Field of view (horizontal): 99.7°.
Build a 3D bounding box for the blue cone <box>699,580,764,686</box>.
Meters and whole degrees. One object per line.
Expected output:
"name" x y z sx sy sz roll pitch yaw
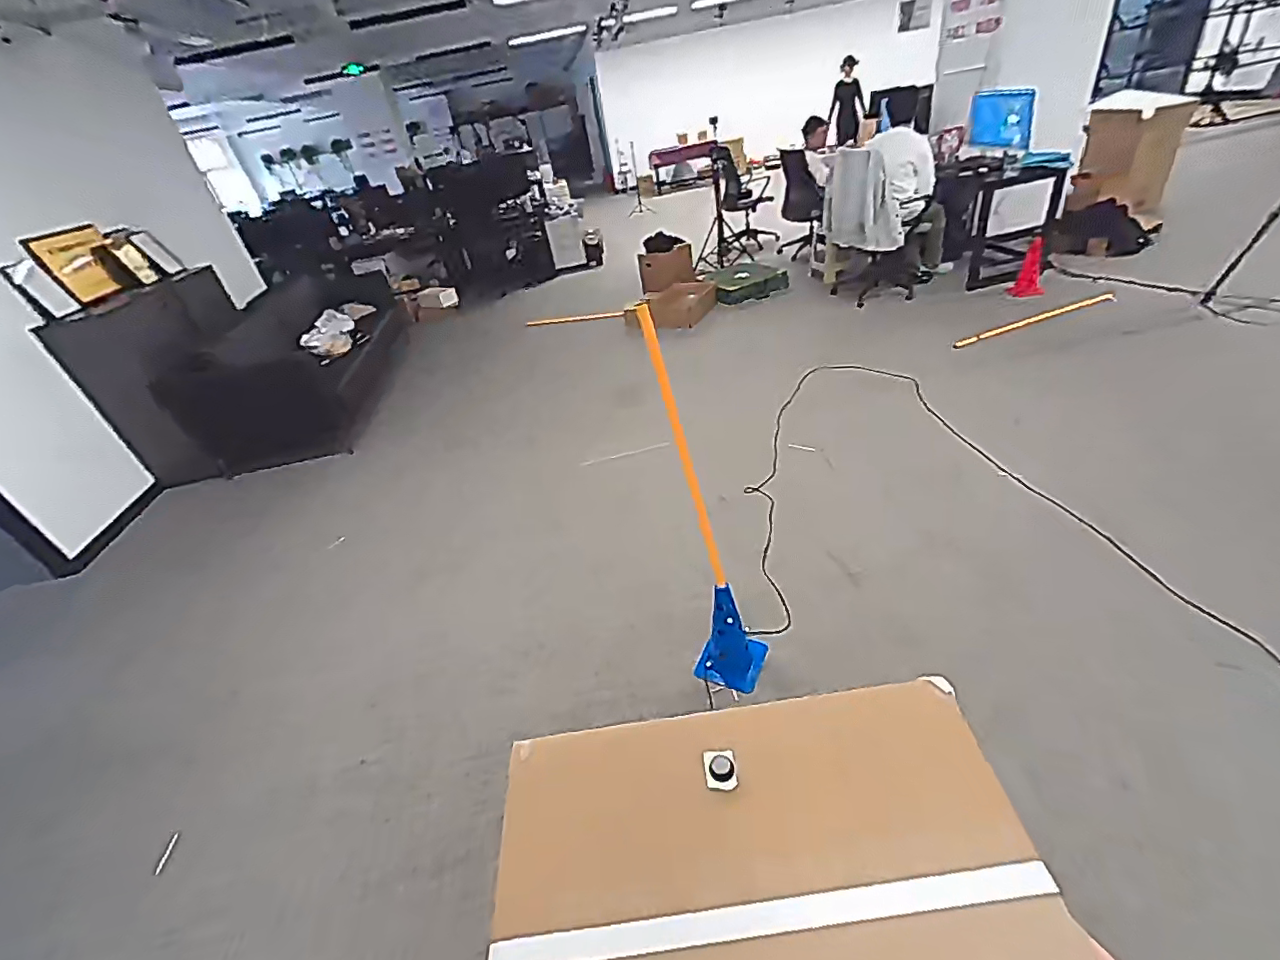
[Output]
"blue cone" 0.273 0.455 1.687 0.192 0.380 0.193 6 39 26
